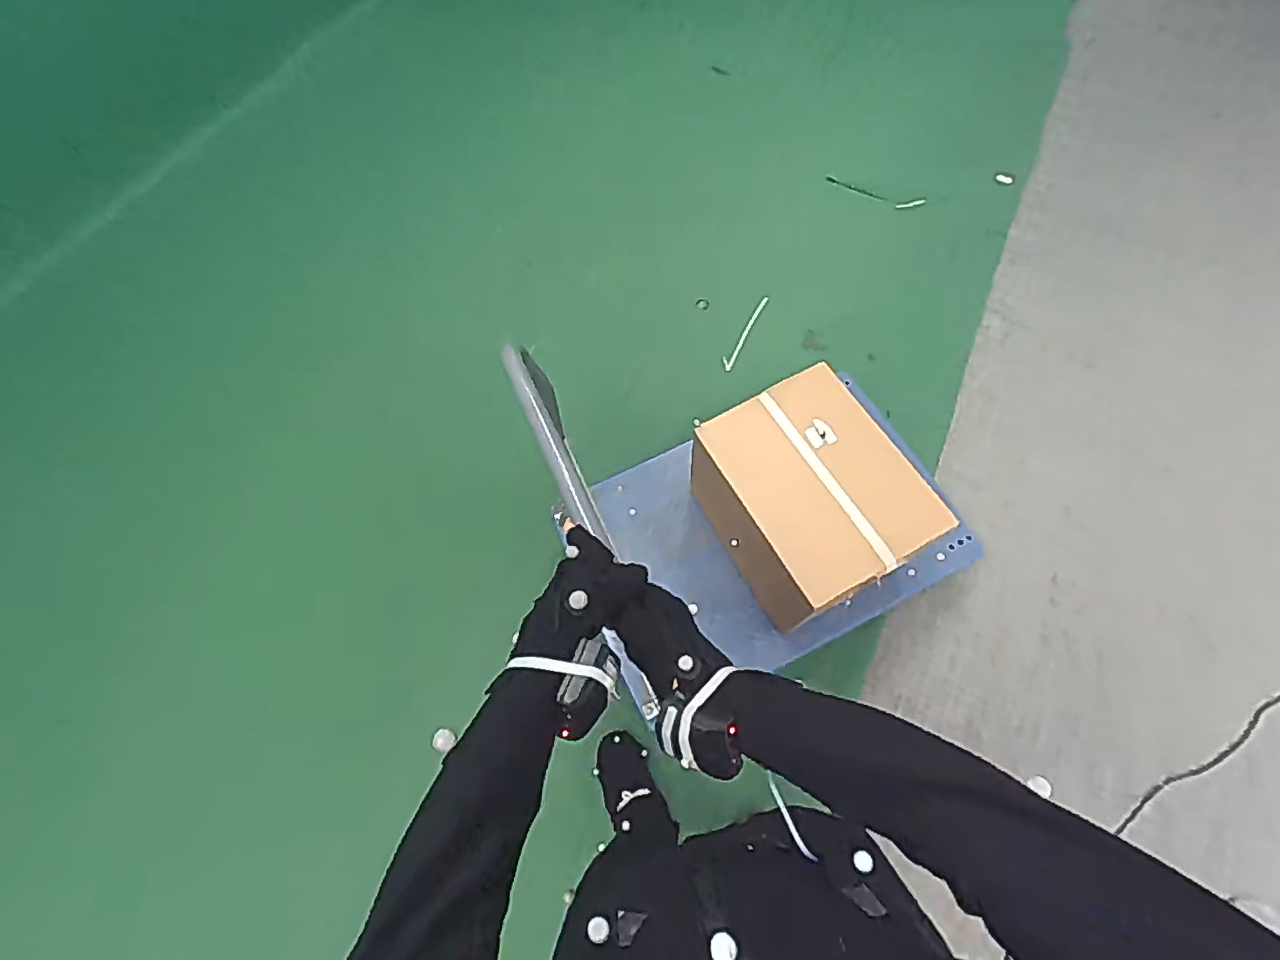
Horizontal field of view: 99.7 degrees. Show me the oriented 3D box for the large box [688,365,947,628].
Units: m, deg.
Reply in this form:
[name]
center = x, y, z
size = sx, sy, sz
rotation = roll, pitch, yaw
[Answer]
[large box]
center = 0.333, 0.045, 1.152
size = 0.320, 0.320, 0.408
rotation = -27, 67, -10
